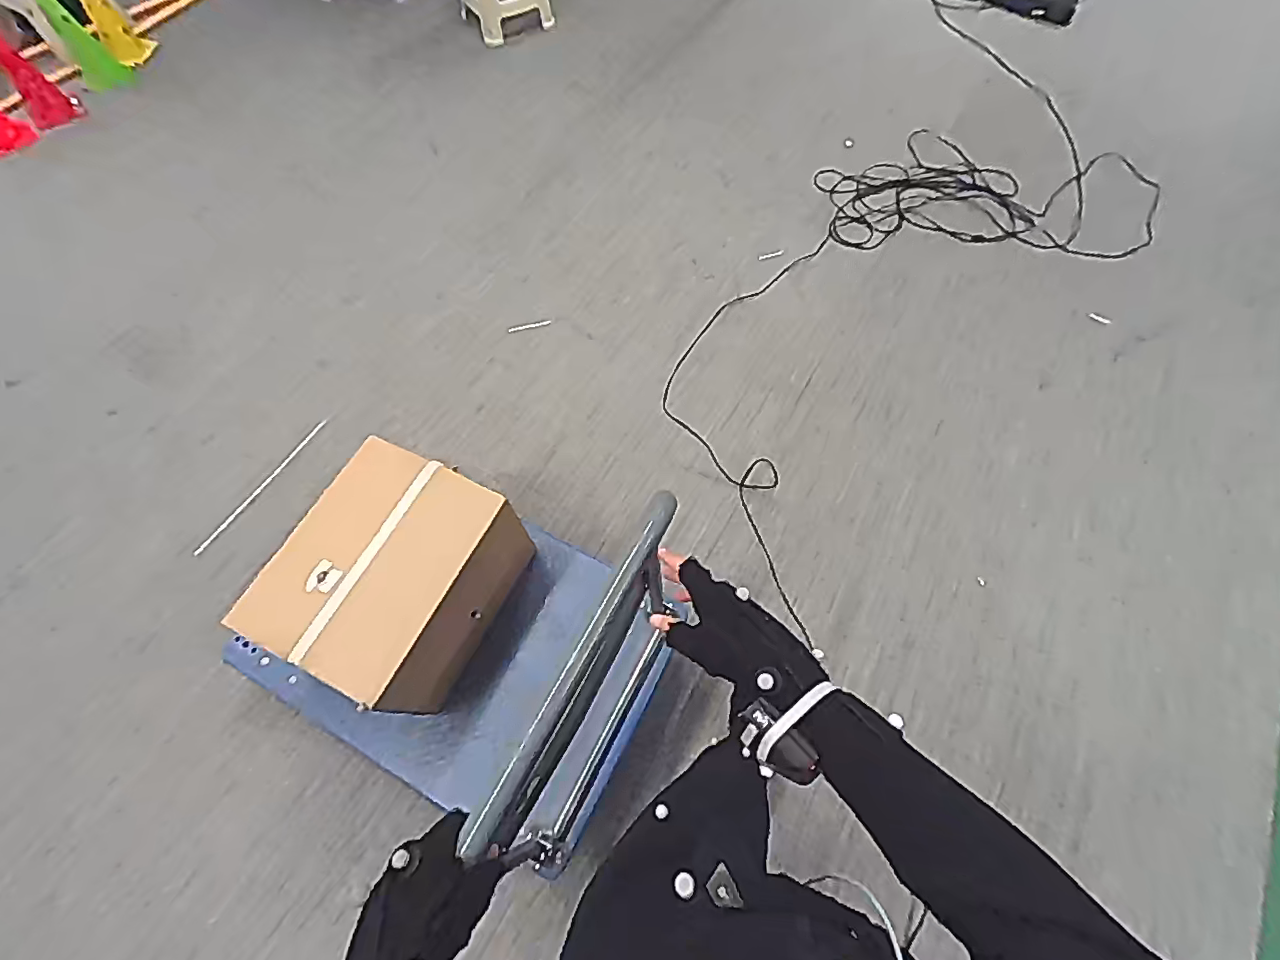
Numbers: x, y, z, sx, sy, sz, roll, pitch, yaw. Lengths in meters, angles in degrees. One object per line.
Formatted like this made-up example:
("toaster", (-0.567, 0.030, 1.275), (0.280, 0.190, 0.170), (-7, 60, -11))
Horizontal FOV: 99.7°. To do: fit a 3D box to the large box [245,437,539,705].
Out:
("large box", (-0.451, 0.193, 1.095), (0.320, 0.320, 0.408), (23, 68, 11))
